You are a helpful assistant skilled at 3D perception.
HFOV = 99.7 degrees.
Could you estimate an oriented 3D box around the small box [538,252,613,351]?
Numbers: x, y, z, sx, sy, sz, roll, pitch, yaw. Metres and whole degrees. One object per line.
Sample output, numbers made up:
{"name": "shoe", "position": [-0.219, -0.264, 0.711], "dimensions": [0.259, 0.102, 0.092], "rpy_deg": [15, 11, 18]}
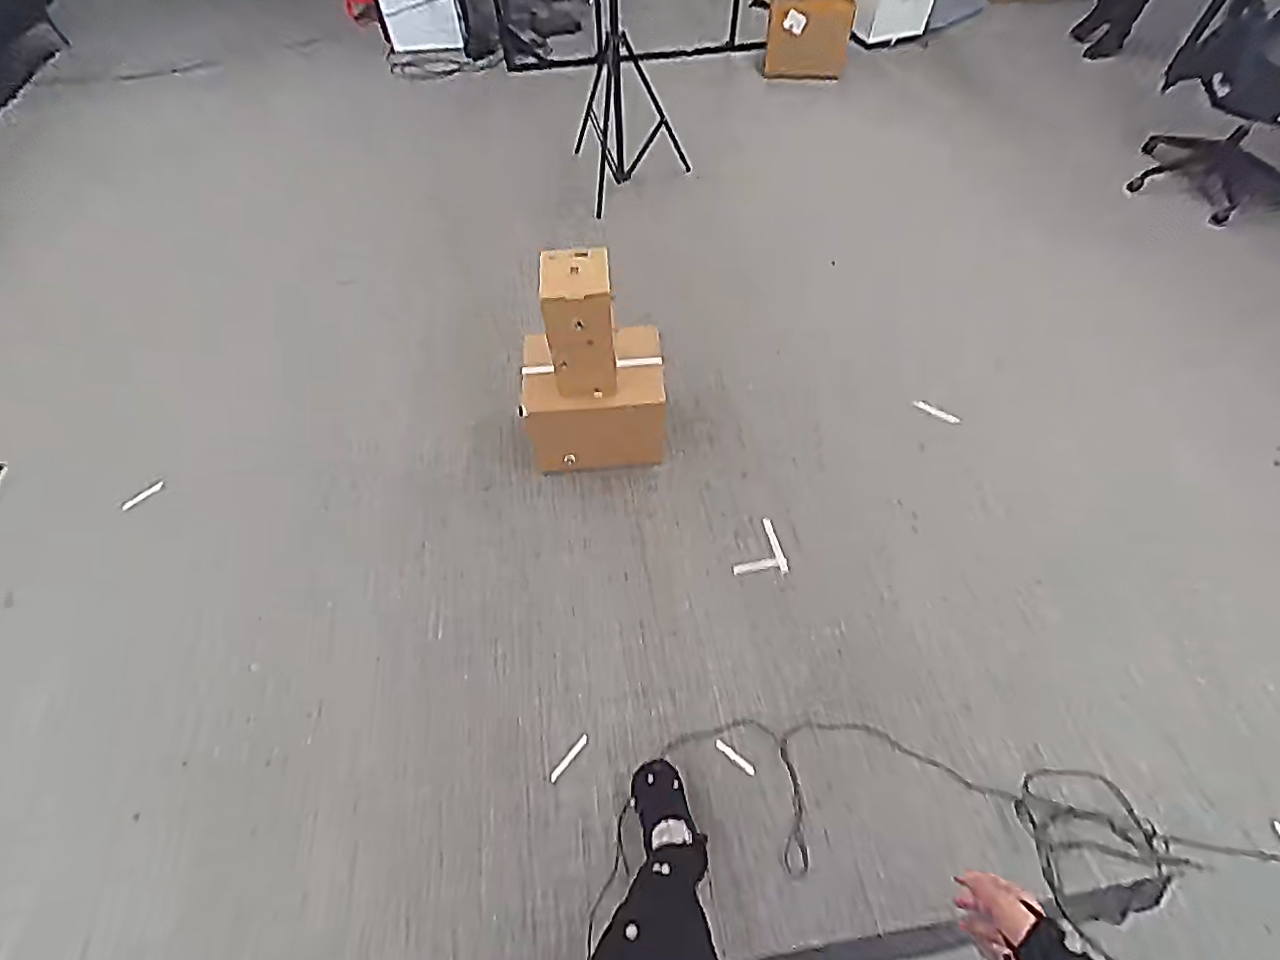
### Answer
{"name": "small box", "position": [-0.156, -0.438, 1.350], "dimensions": [0.168, 0.176, 0.179], "rpy_deg": [-4, 58, -2]}
